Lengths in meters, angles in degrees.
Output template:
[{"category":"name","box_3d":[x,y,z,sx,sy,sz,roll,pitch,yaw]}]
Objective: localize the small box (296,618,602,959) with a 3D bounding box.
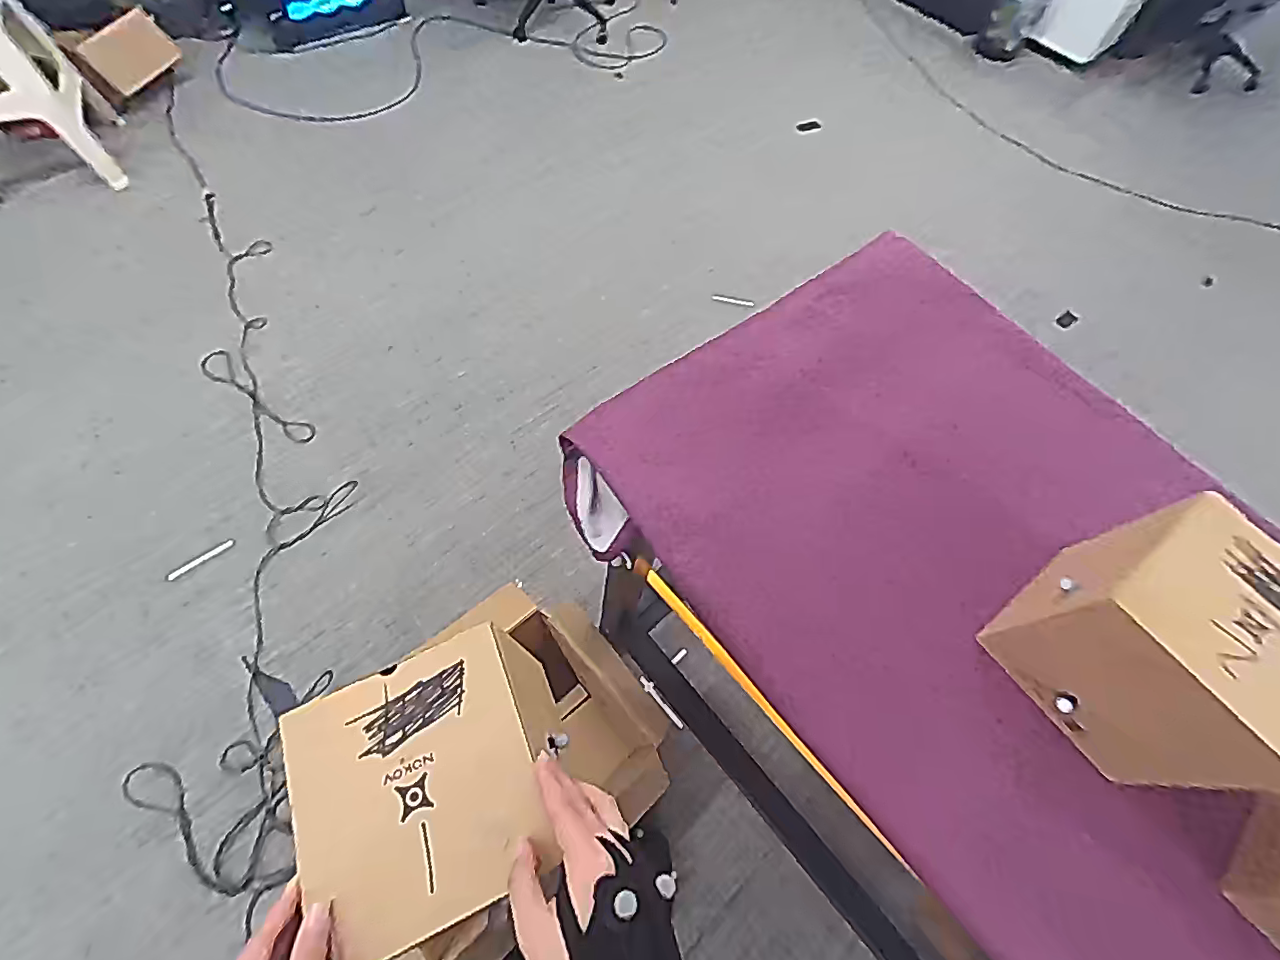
[{"category":"small box","box_3d":[-0.143,0.244,0.442,0.168,0.176,0.179,-23,61,-8]}]

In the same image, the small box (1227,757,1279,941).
[{"category":"small box","box_3d":[0.637,0.329,0.419,0.179,0.176,0.168,-34,70,-22]}]
